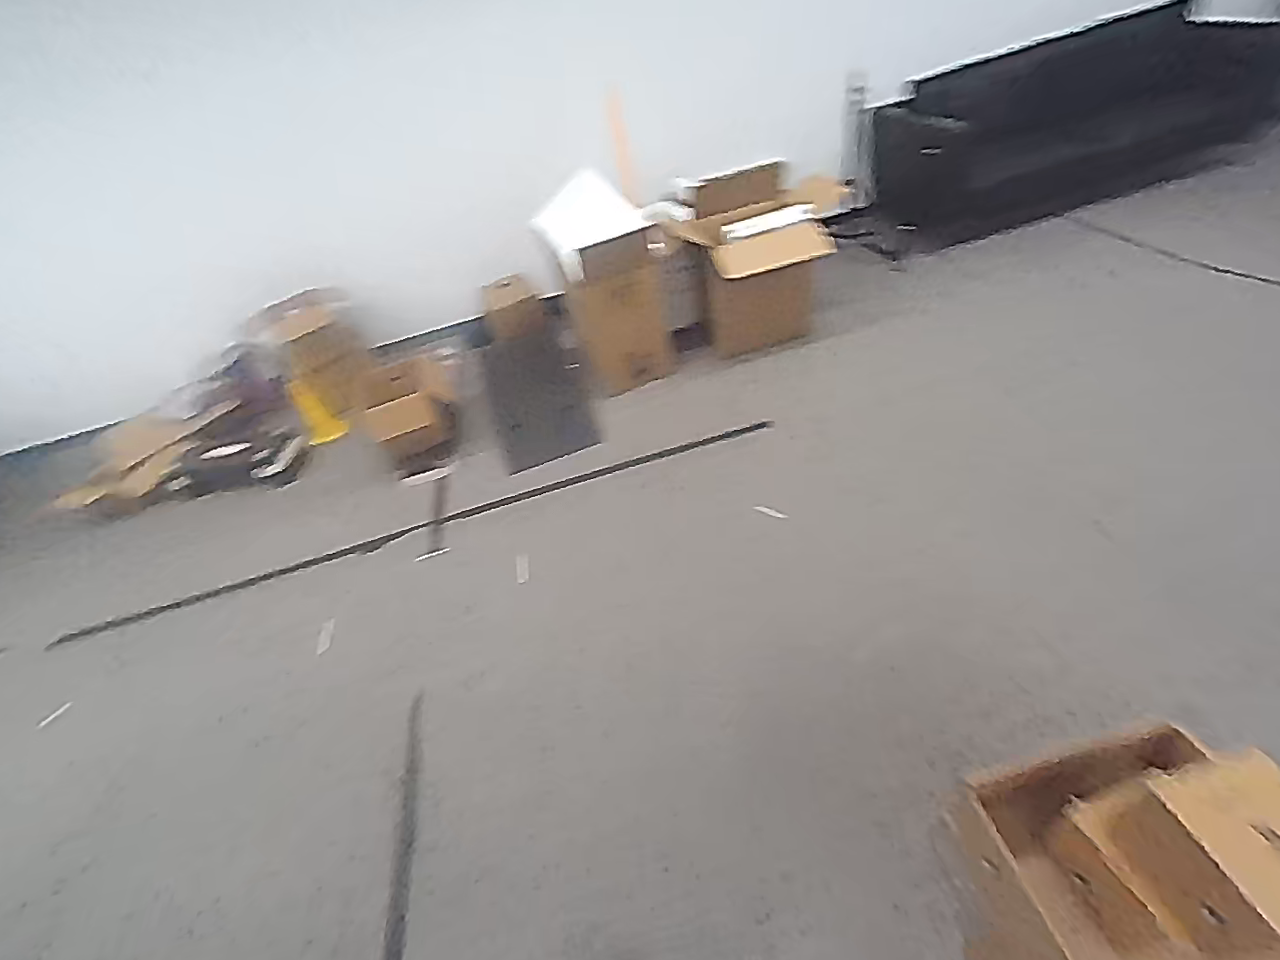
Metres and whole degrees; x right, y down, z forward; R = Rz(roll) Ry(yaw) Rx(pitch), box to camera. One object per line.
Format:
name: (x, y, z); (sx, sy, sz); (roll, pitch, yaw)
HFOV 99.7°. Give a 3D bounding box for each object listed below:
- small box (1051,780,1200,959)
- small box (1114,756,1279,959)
small box: (0.788, 0.600, 0.830); (0.179, 0.176, 0.168); (-19, 41, -5)
small box: (0.785, 0.496, 0.698); (0.168, 0.176, 0.179); (-15, 42, -2)
